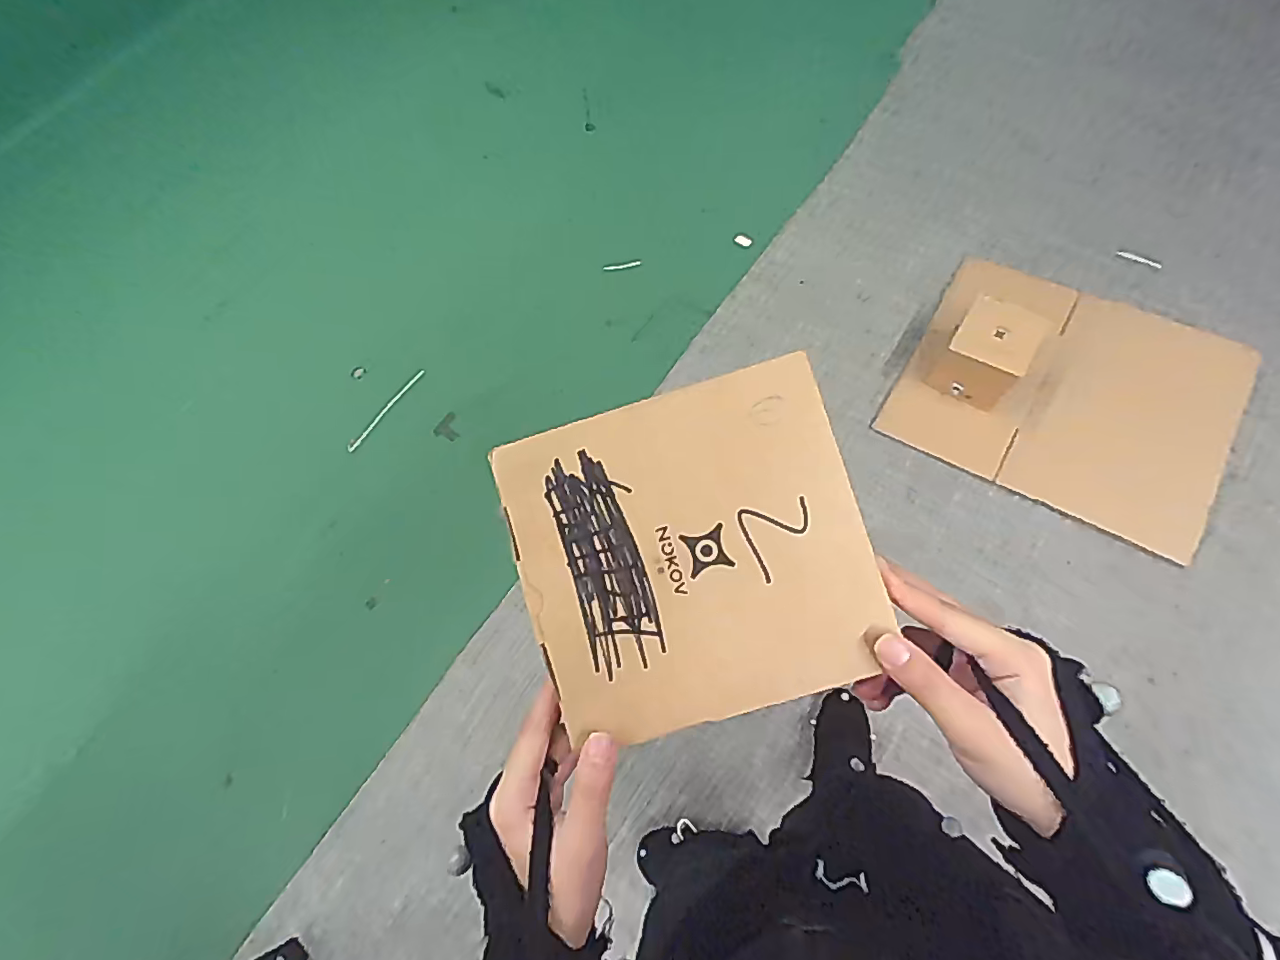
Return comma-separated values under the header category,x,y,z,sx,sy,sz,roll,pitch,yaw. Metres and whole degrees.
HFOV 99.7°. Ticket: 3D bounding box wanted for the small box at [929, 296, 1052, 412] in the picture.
category,x,y,z,sx,sy,sz,roll,pitch,yaw
small box,0.824,-0.296,1.290,0.168,0.176,0.179,29,77,19
